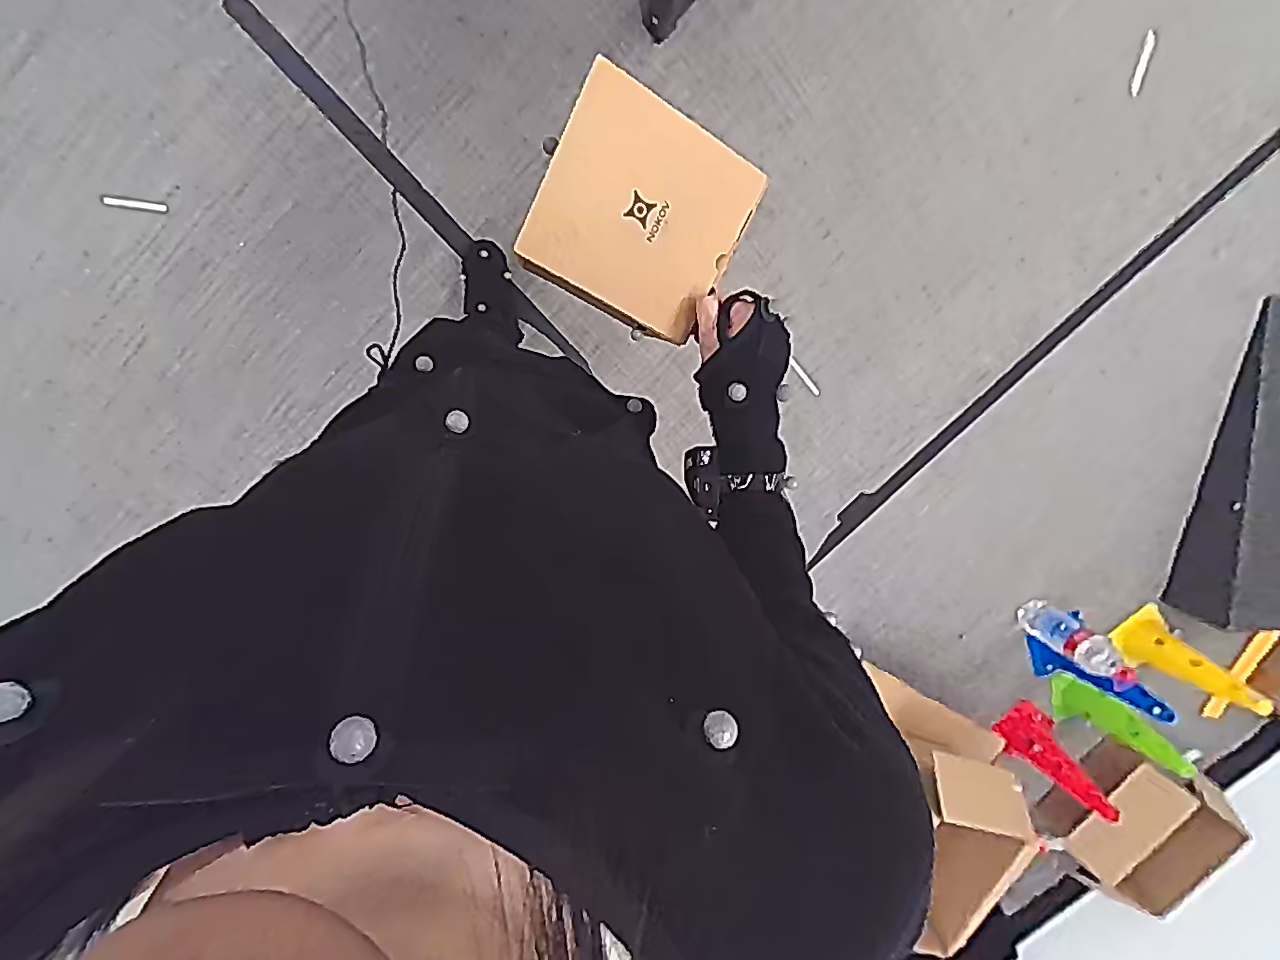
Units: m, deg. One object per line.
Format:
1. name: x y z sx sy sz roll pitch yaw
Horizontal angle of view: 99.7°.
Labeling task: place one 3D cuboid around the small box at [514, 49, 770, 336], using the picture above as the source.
1. small box: -0.013 -0.258 0.535 0.179 0.176 0.168 23 102 -20
